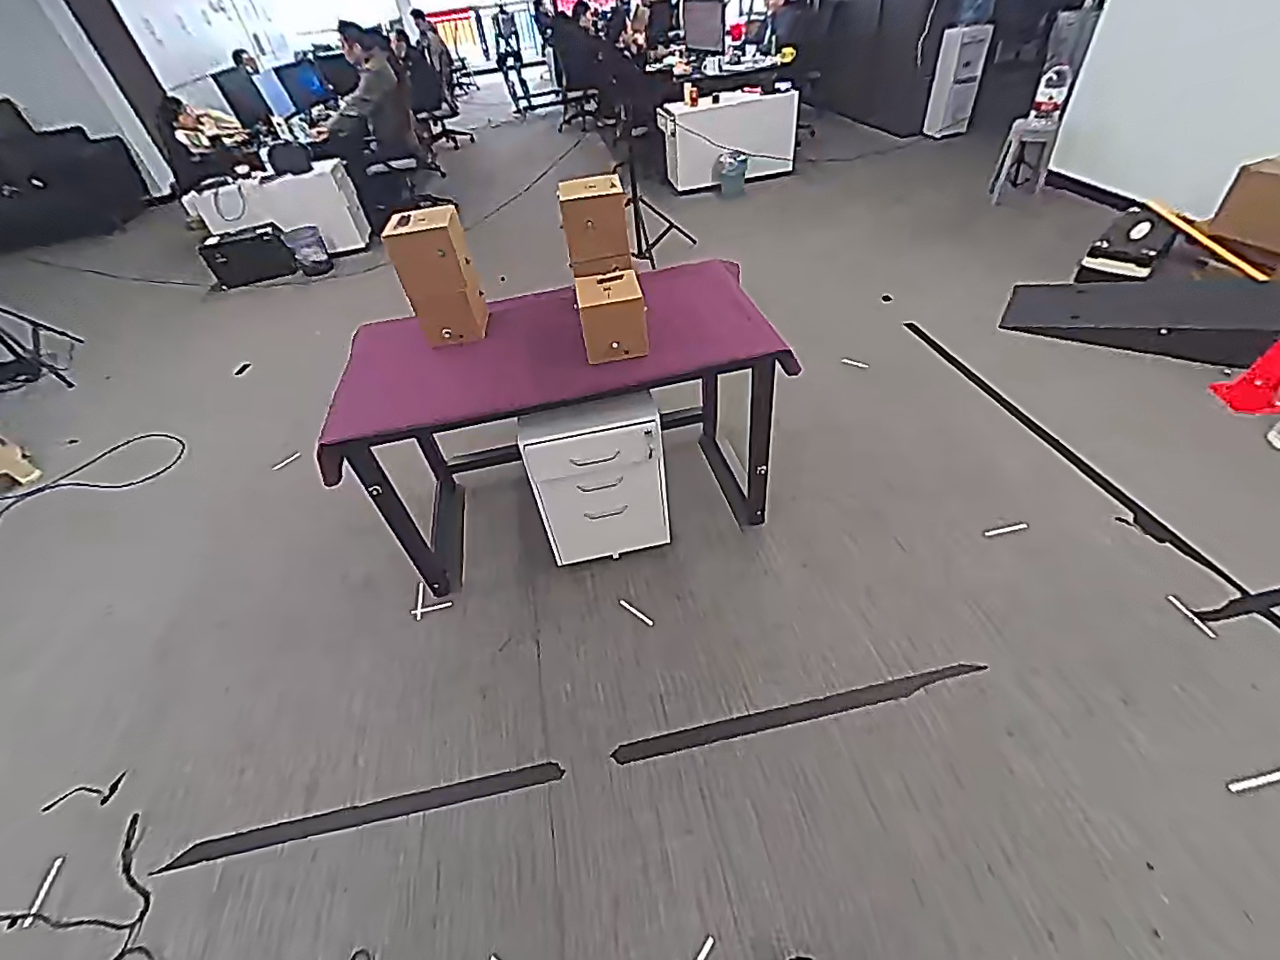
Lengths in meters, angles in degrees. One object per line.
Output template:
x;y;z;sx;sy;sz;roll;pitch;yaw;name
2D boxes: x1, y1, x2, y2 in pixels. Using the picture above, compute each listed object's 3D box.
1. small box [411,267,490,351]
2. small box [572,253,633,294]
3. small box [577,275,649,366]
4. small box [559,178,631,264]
-0.560;-0.513;1.624;0.168;0.176;0.179;-9;46;1;small box
-0.110;-0.624;1.668;0.179;0.176;0.168;-10;44;-1;small box
-0.074;-0.431;1.462;0.168;0.176;0.179;-10;43;-1;small box
-0.129;-0.741;1.555;0.179;0.176;0.168;-9;45;0;small box
